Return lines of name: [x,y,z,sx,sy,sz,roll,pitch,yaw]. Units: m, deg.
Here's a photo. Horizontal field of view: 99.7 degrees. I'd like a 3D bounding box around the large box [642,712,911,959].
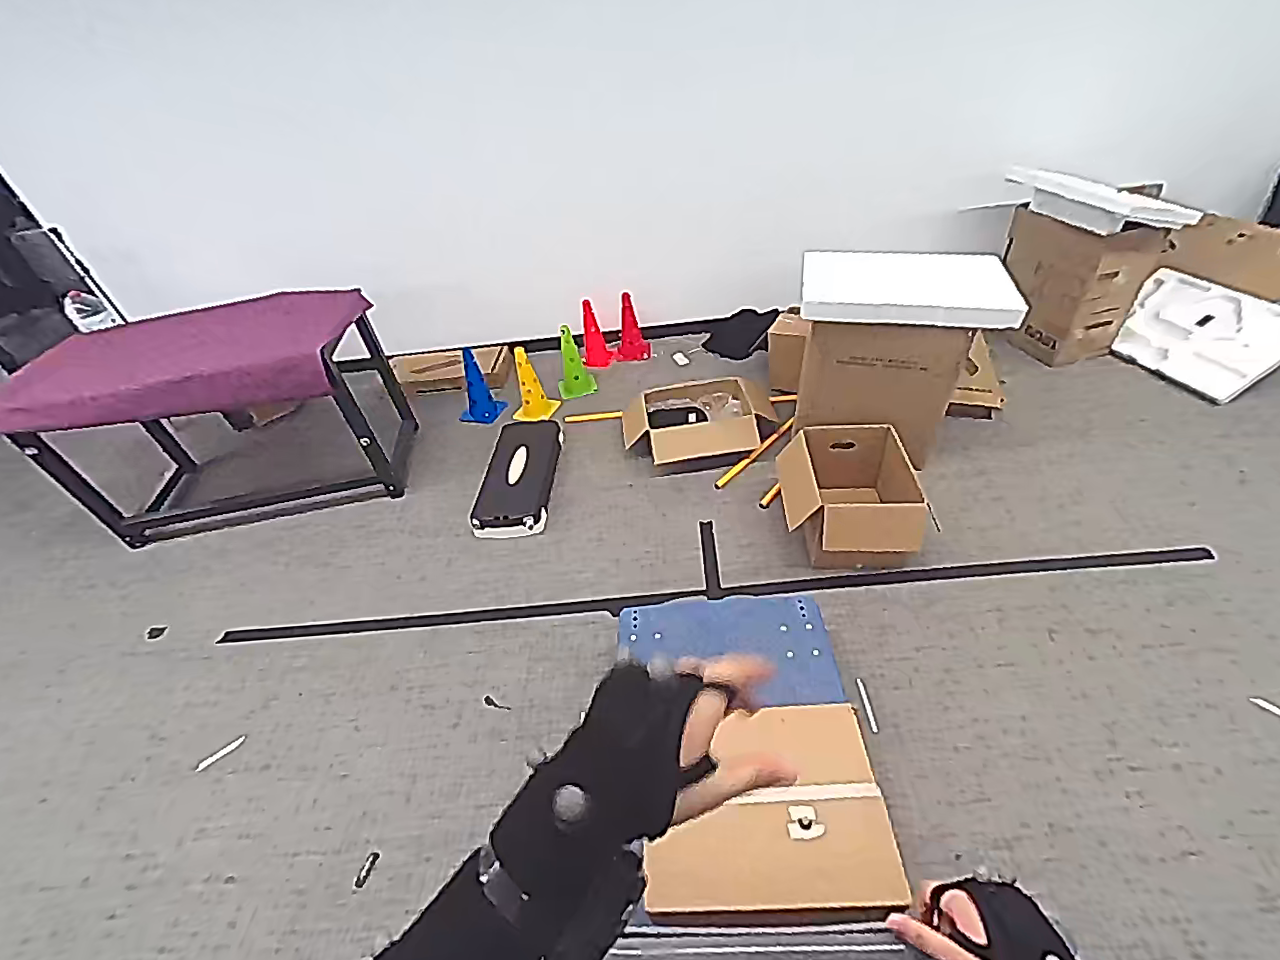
large box: [0.216,0.668,1.015,0.408,0.320,0.320,-4,41,3]
